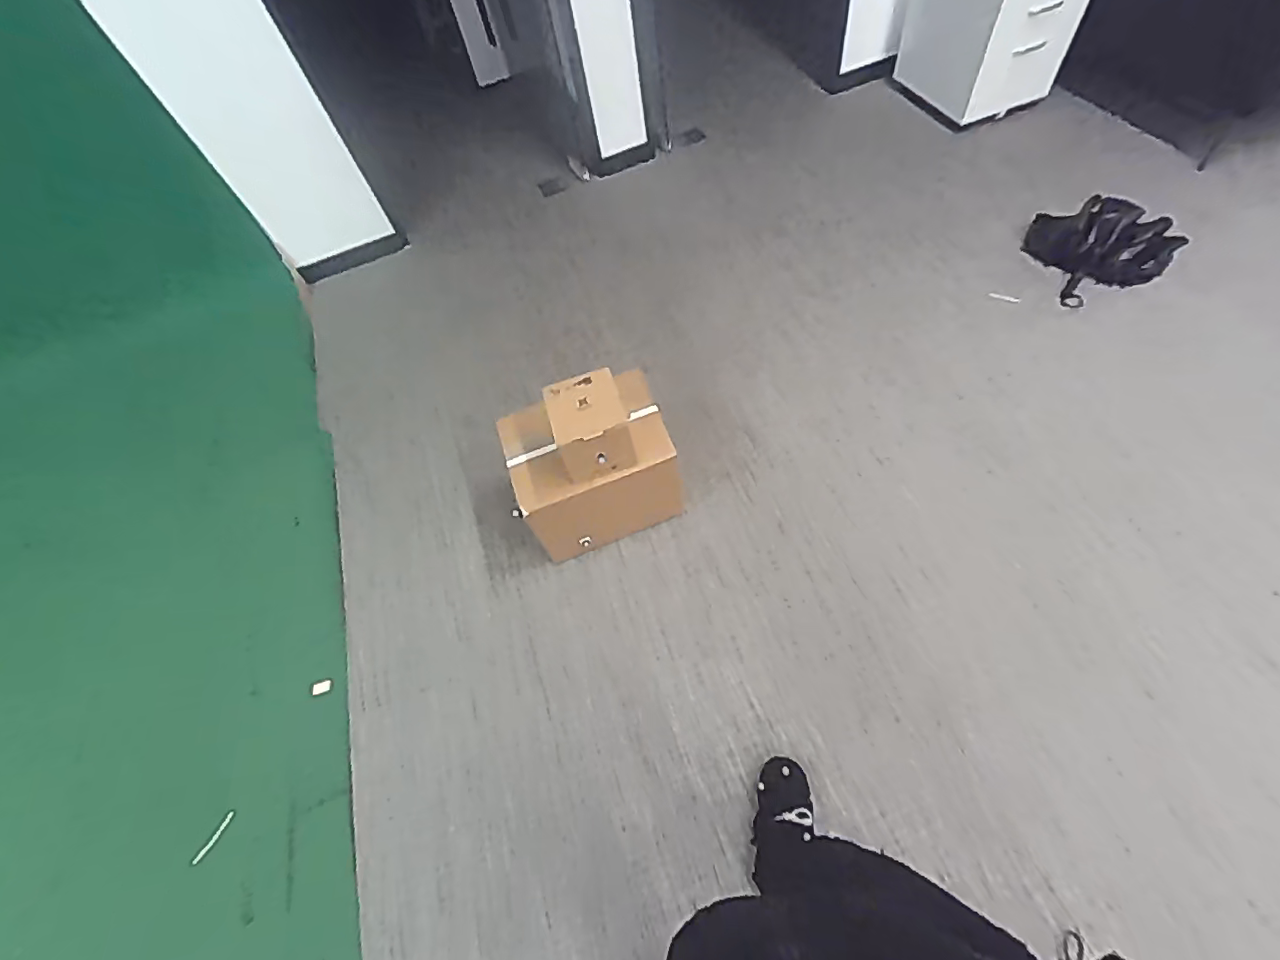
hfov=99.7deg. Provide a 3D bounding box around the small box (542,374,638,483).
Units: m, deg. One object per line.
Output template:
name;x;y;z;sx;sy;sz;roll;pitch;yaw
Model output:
small box;-0.113;-0.112;1.273;0.168;0.176;0.179;-19;59;-1
